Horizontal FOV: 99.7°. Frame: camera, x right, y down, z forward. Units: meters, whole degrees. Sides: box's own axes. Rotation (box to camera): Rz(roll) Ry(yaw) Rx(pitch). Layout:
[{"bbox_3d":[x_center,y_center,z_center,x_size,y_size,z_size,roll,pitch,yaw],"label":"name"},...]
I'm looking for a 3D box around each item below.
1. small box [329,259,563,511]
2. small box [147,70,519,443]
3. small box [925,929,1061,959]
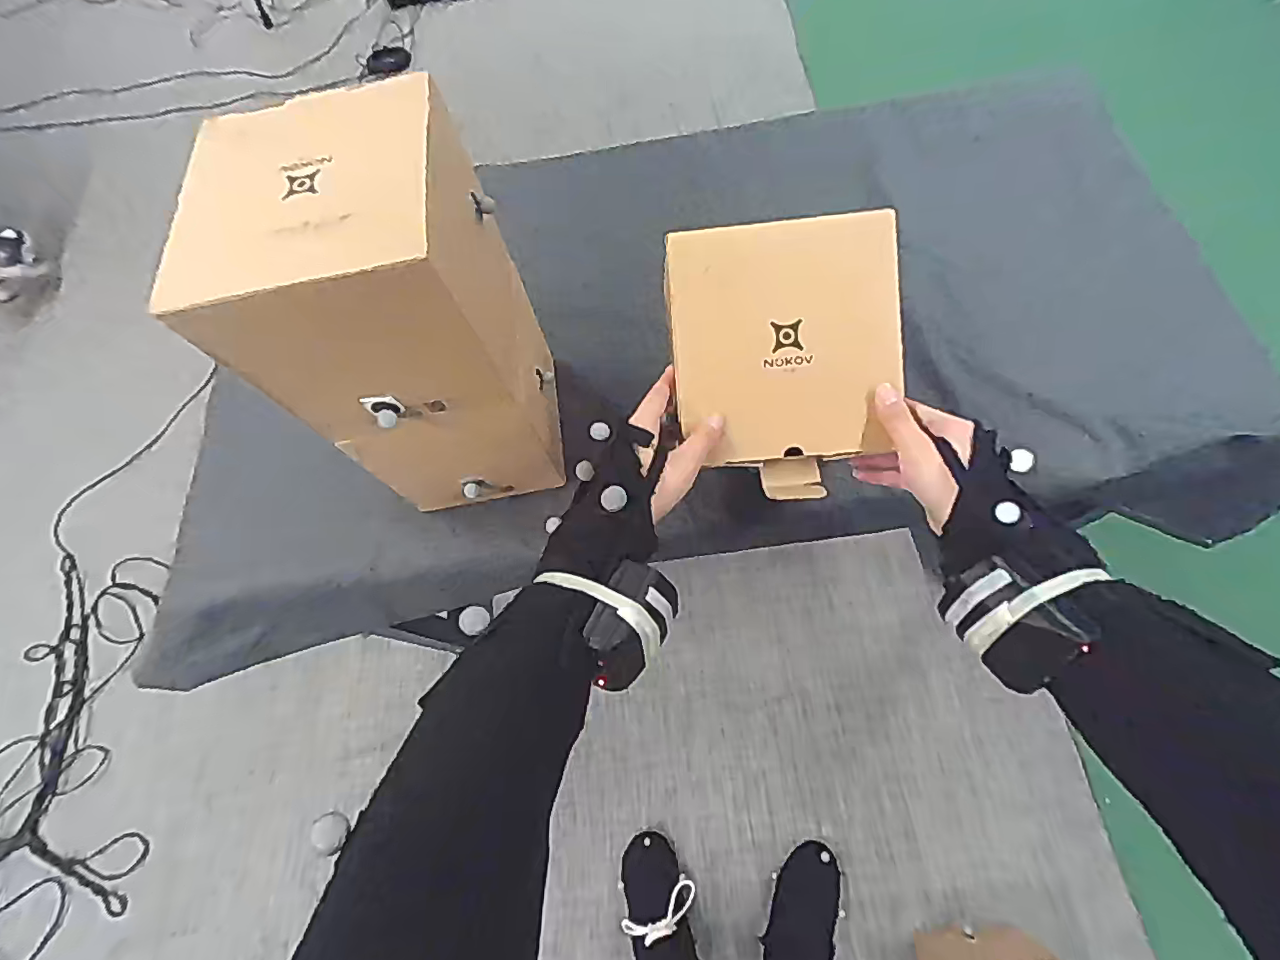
[{"bbox_3d":[-0.182,-0.088,0.552,0.168,0.176,0.179,-11,66,2],"label":"small box"},{"bbox_3d":[-0.198,-0.152,0.404,0.168,0.176,0.179,-11,67,3],"label":"small box"},{"bbox_3d":[0.581,0.848,0.860,0.179,0.176,0.168,-9,66,4],"label":"small box"}]
